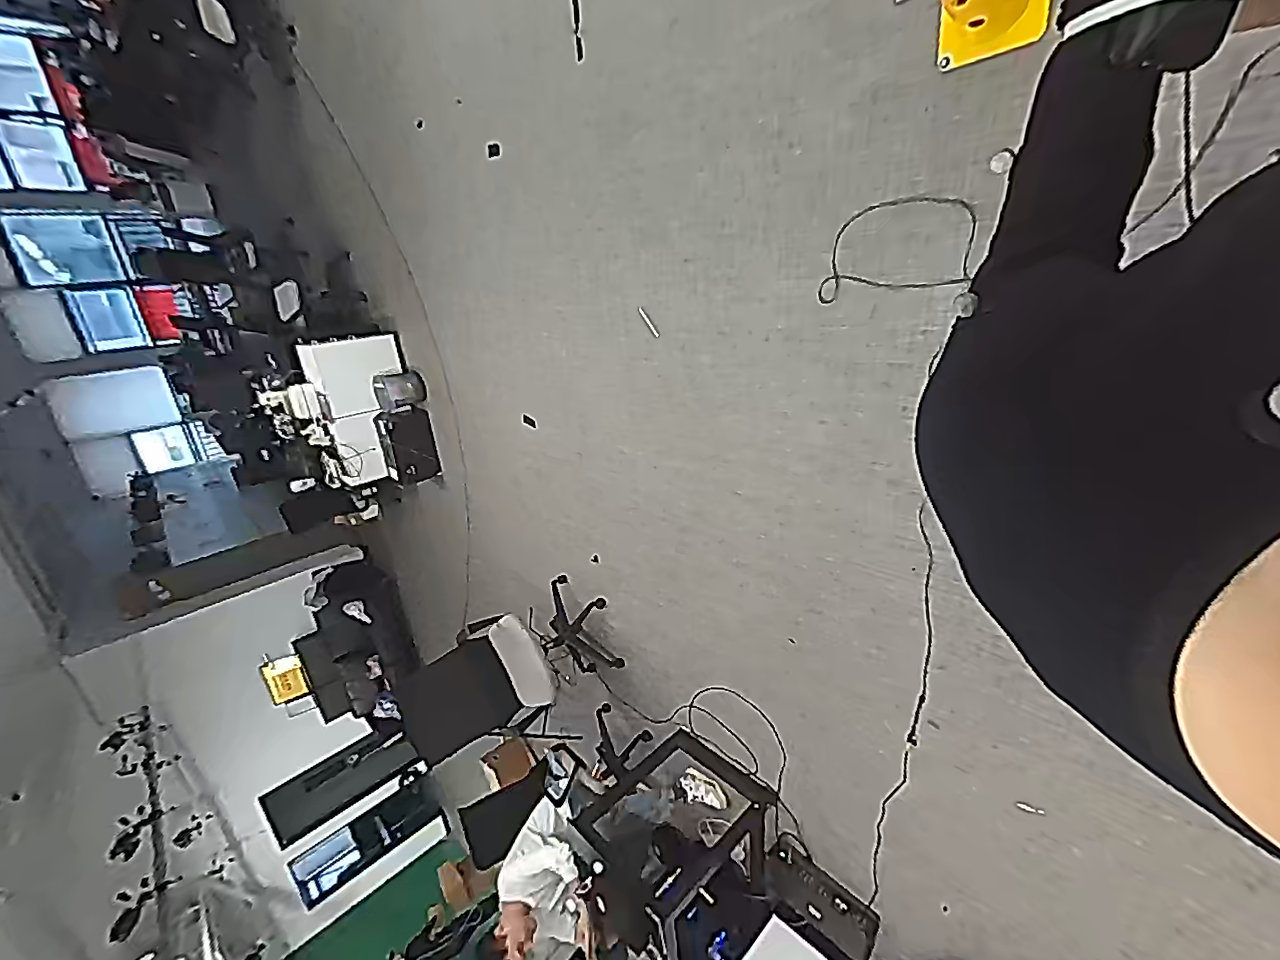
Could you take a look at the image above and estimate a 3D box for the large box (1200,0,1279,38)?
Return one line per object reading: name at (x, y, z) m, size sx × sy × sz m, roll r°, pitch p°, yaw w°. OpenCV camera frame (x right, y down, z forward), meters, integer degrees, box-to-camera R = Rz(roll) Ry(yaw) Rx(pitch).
large box at (0.562, -0.451, 0.227) m, size 0.408 × 0.320 × 0.320 m, roll 20°, pitch 127°, yaw 42°
